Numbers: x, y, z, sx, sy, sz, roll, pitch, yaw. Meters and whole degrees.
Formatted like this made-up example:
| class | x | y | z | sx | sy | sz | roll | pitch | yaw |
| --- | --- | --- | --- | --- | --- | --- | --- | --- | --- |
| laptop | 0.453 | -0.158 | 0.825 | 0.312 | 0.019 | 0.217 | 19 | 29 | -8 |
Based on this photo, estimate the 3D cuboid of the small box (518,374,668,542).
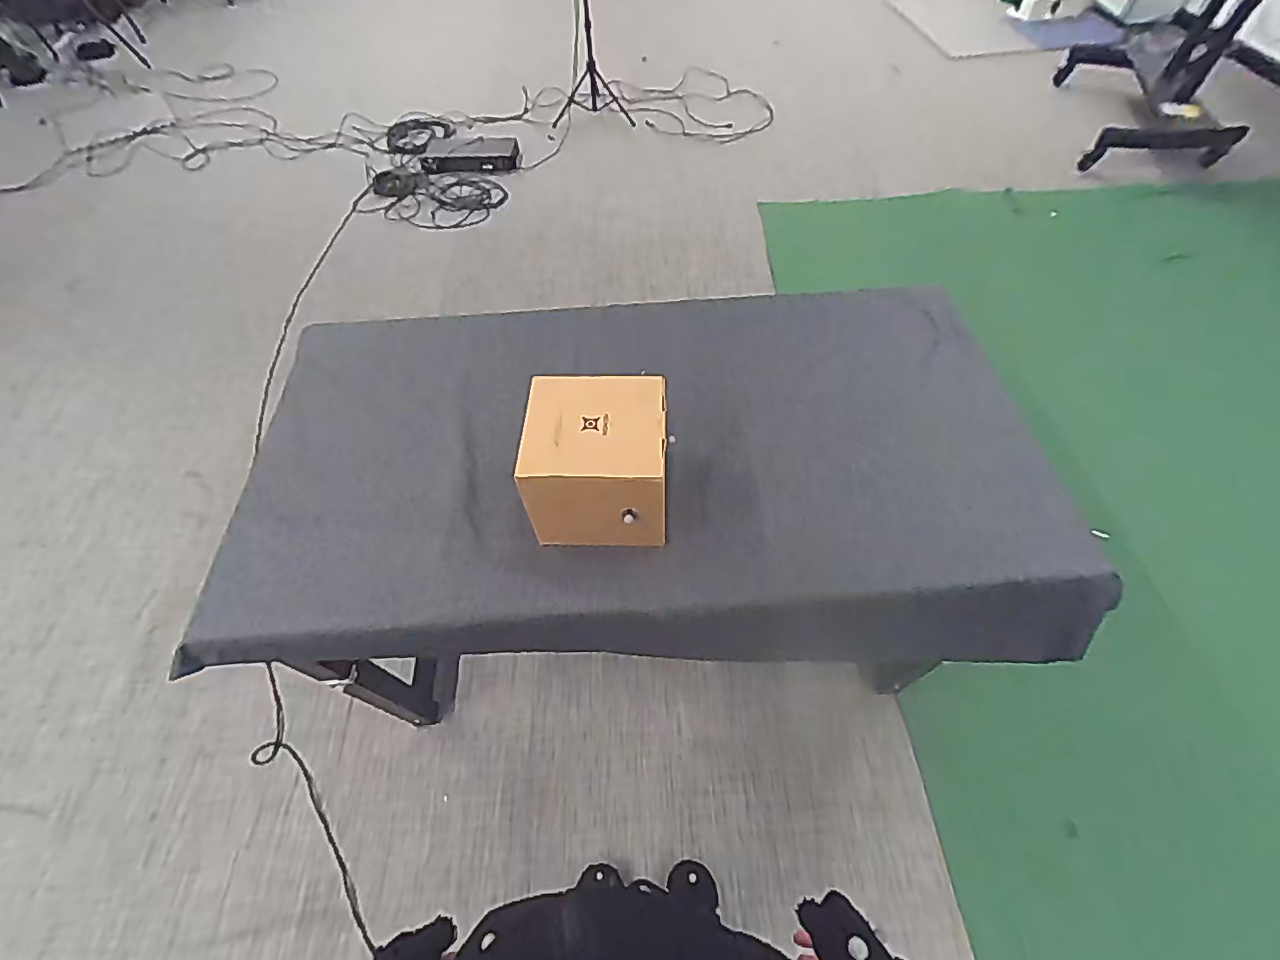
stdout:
| class | x | y | z | sx | sy | sz | roll | pitch | yaw |
| --- | --- | --- | --- | --- | --- | --- | --- | --- | --- |
| small box | -0.051 | -0.025 | 0.736 | 0.179 | 0.176 | 0.168 | 0 | 55 | 3 |
